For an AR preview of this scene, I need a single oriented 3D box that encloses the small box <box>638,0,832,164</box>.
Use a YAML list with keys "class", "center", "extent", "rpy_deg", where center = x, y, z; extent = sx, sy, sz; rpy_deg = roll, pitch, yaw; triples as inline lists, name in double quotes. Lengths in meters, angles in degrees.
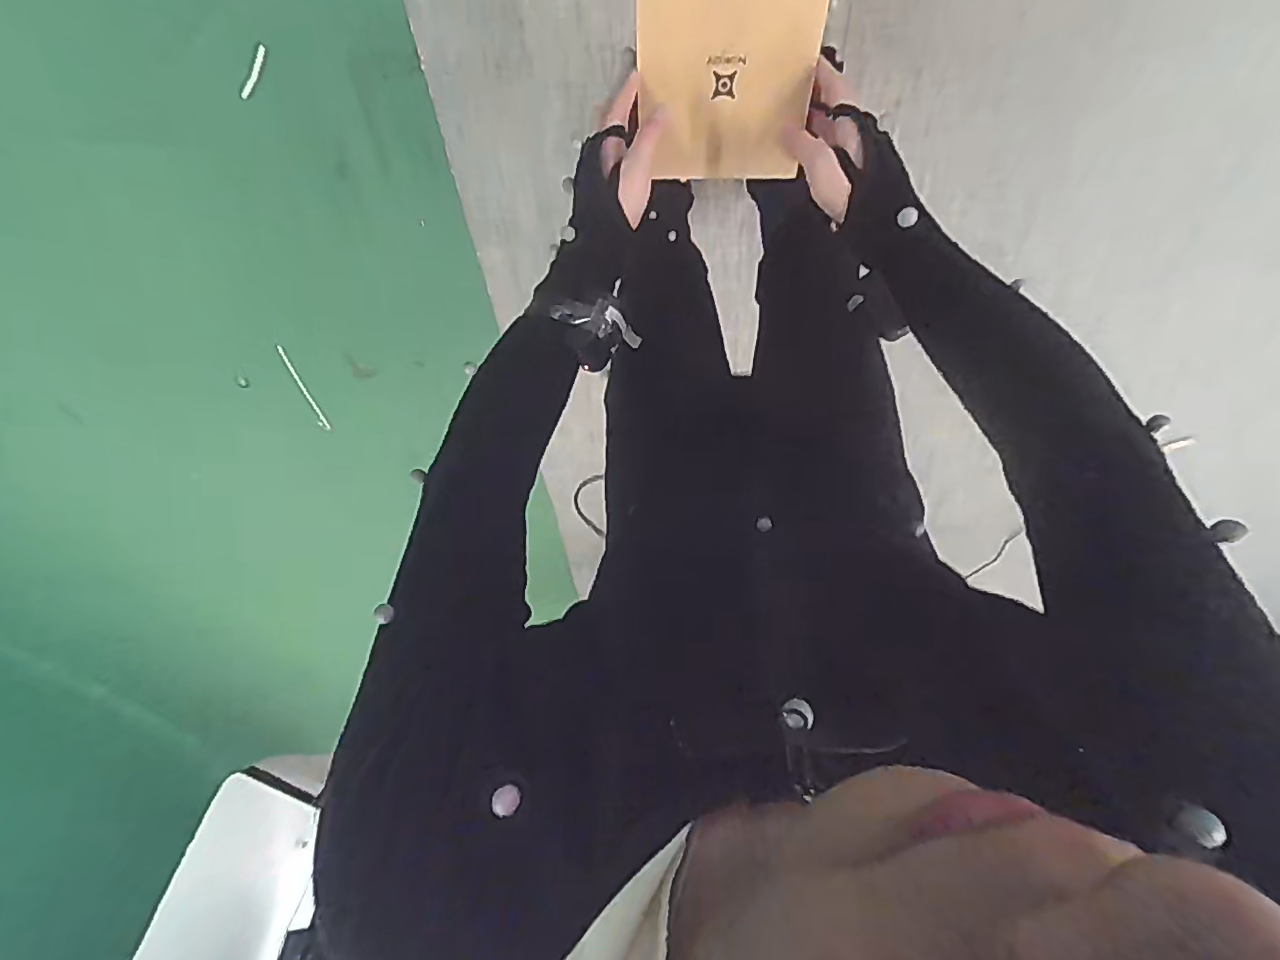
- class: "small box"
  center: [0.086, -0.441, 0.537]
  extent: [0.168, 0.176, 0.179]
  rpy_deg: [1, 140, 4]
